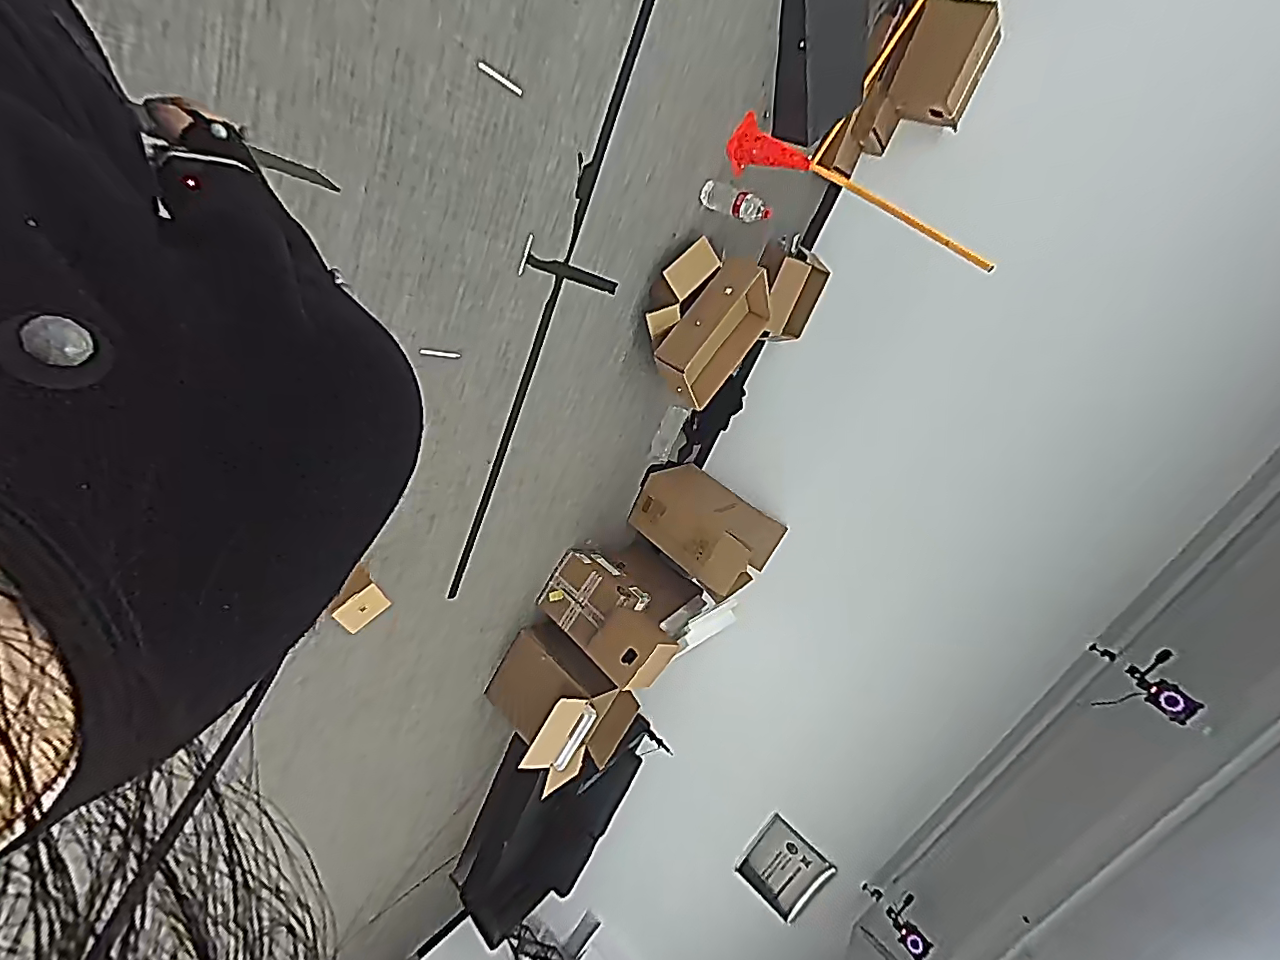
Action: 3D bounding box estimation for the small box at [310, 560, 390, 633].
[{"bbox_3d":[-1.057,0.418,1.968,0.168,0.176,0.179,-40,152,-25],"label":"small box"}]
